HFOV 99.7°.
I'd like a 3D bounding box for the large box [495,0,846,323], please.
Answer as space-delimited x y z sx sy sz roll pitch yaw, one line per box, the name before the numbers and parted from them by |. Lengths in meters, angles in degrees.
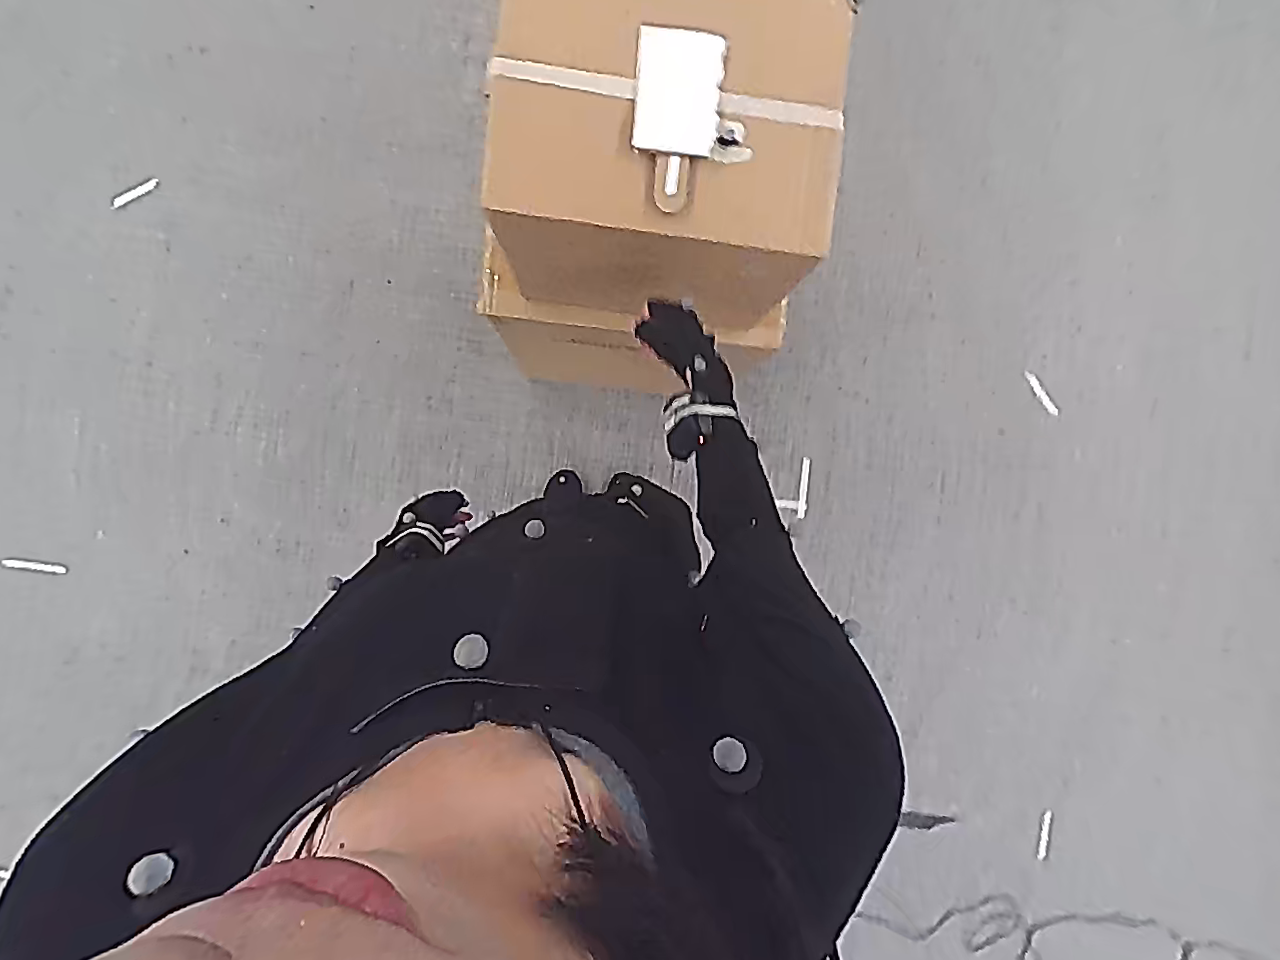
large box | 0.027 -0.442 0.785 0.408 0.320 0.320 6 90 -5
